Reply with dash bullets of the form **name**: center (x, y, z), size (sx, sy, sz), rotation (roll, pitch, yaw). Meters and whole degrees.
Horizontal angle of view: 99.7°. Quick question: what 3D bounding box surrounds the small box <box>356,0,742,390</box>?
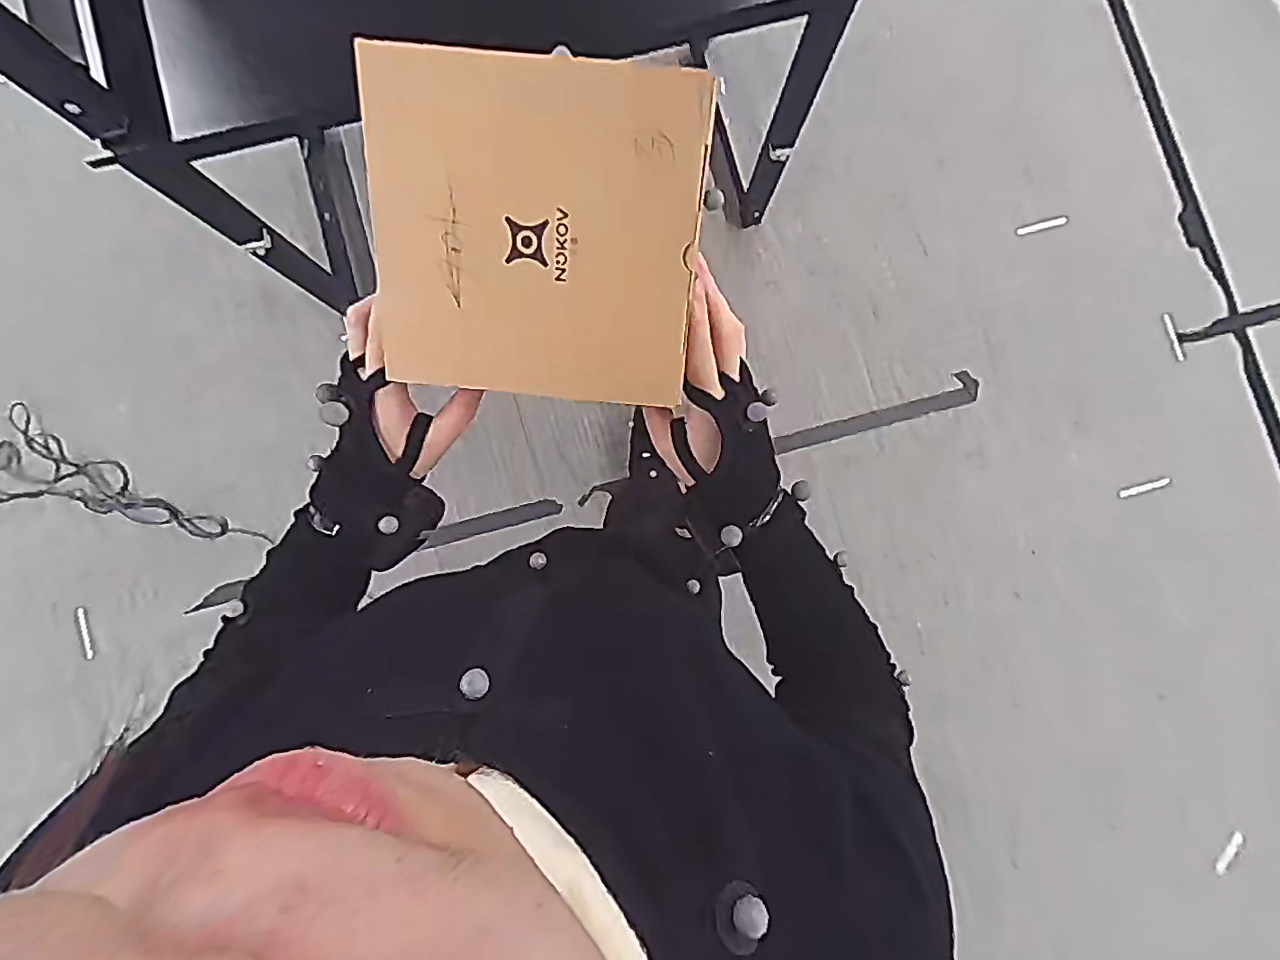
- **small box**: center (-0.044, -0.163, 0.343), size (0.179, 0.176, 0.168), rotation (6, 112, 1)
